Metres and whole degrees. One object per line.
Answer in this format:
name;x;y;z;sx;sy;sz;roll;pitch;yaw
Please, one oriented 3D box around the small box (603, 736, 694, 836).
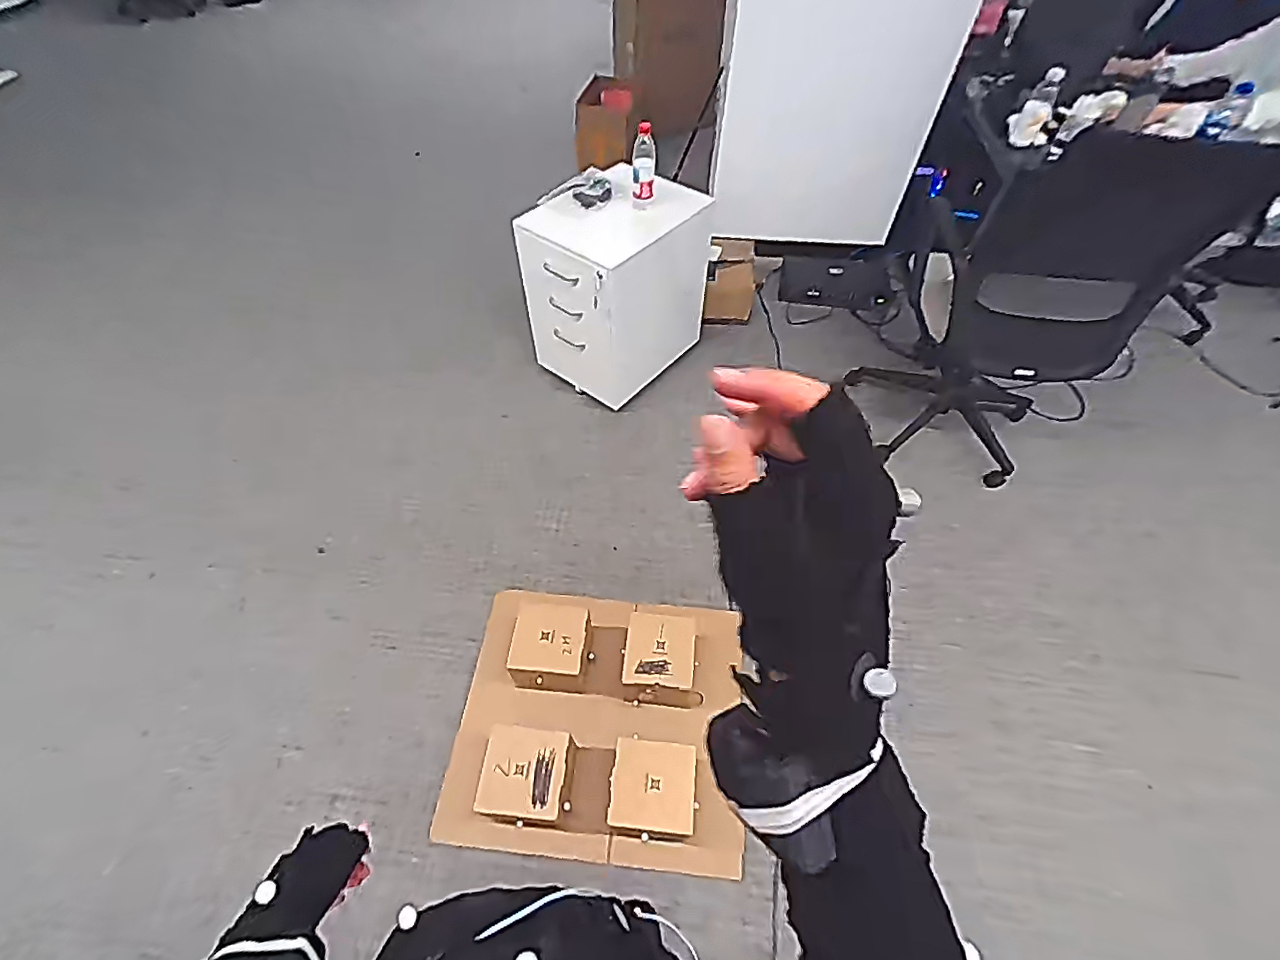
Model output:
small box;0.023;0.678;1.193;0.179;0.176;0.168;4;54;5
